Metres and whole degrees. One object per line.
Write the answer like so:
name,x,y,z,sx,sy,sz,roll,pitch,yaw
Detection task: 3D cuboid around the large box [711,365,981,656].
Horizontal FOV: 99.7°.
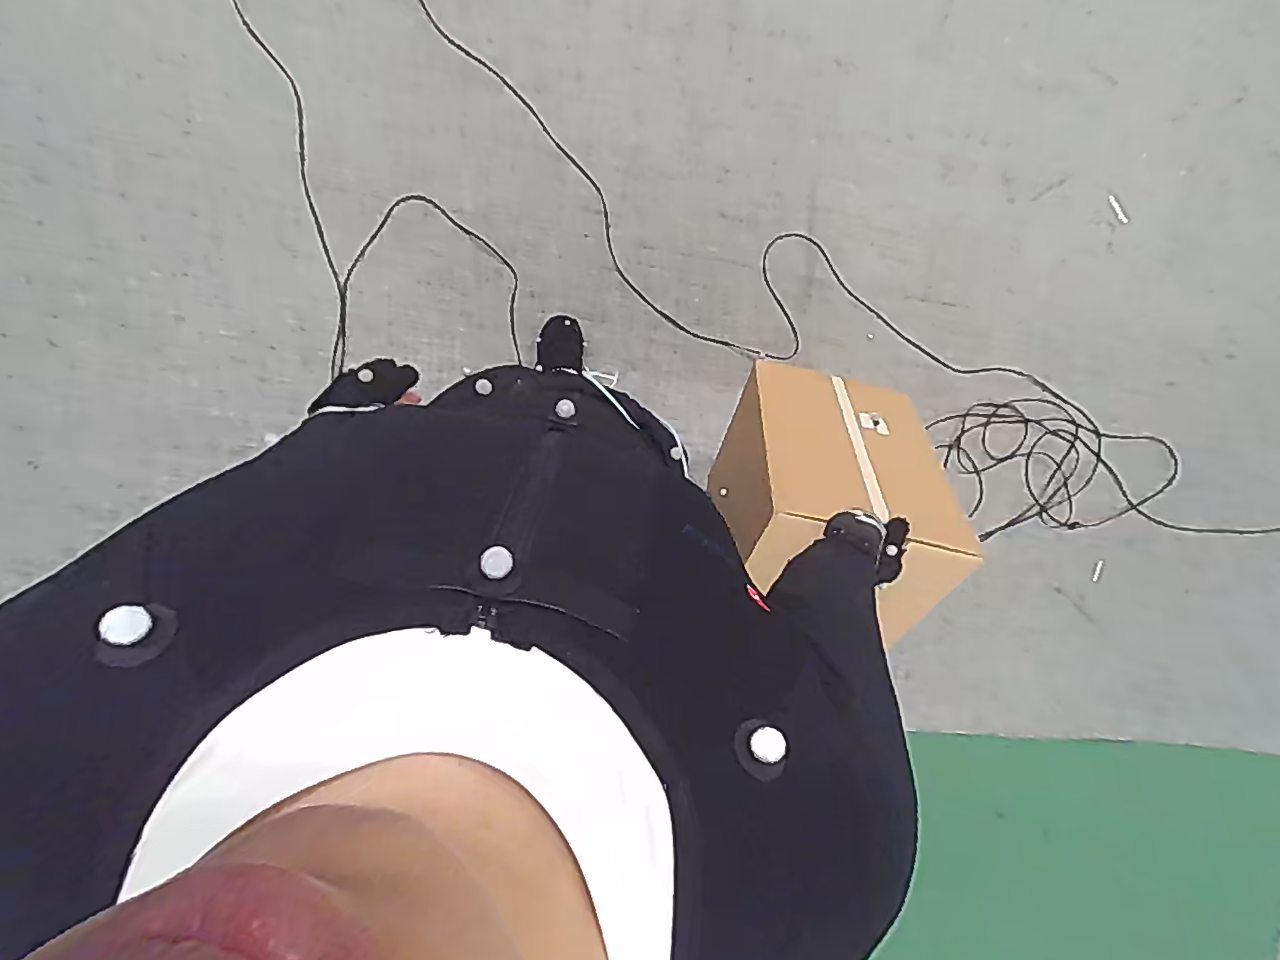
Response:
large box,0.321,0.051,0.993,0.320,0.408,0.320,13,132,-5
